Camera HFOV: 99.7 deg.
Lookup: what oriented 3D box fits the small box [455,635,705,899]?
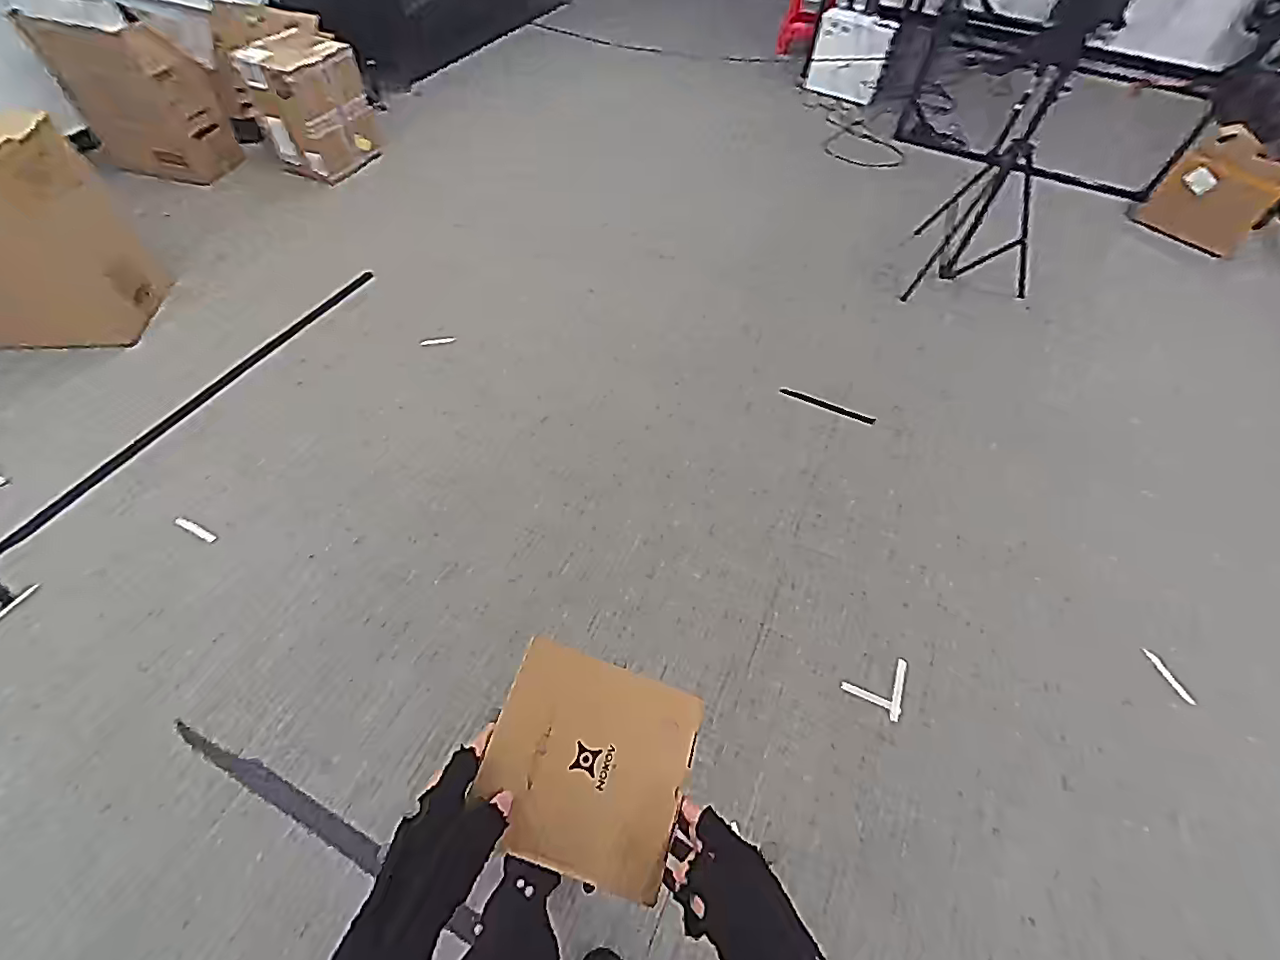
[{"bbox_3d":[-0.059,0.276,0.540,0.179,0.176,0.168,21,60,-1],"label":"small box"}]
